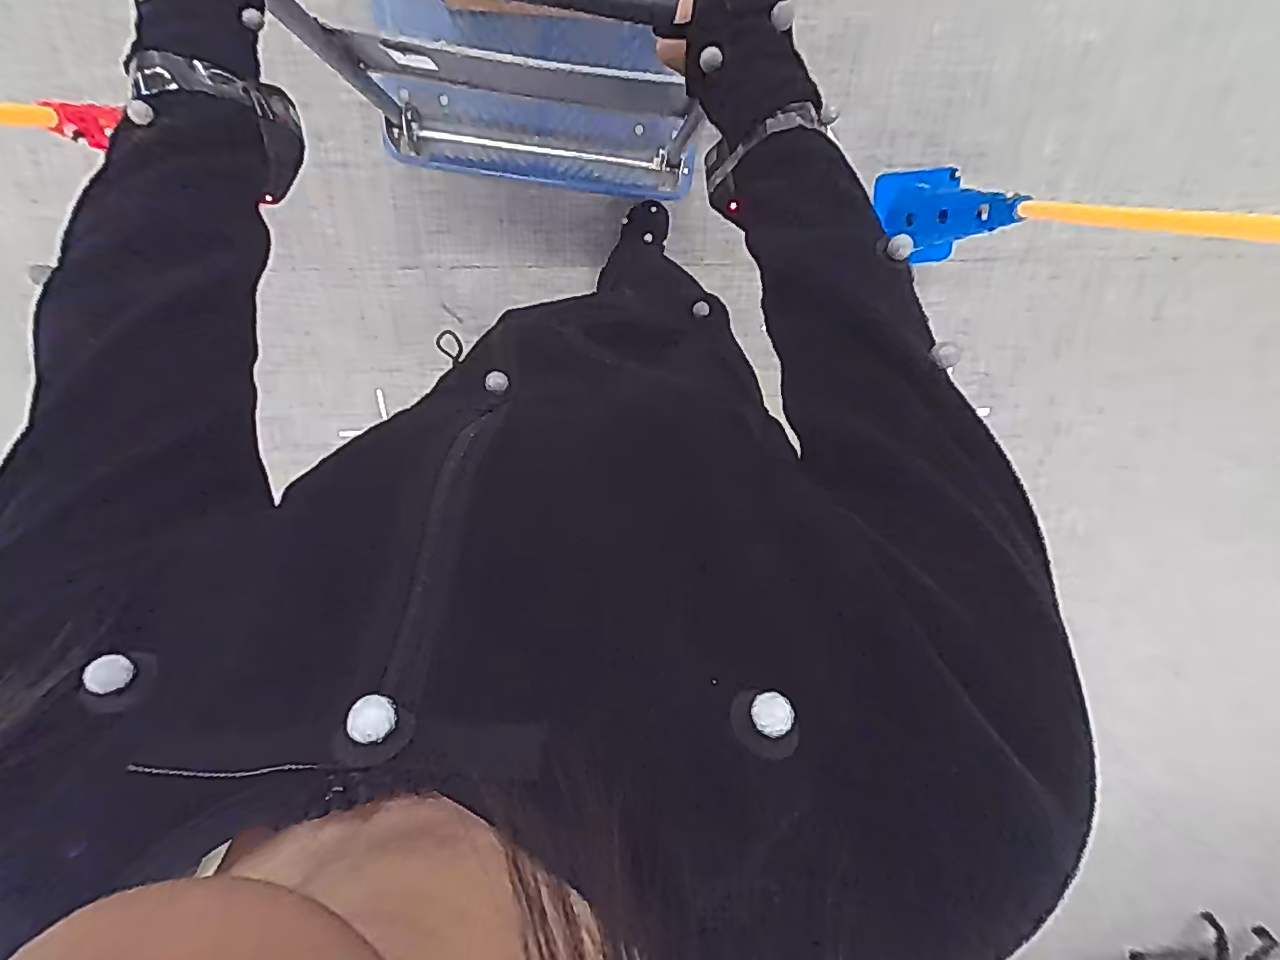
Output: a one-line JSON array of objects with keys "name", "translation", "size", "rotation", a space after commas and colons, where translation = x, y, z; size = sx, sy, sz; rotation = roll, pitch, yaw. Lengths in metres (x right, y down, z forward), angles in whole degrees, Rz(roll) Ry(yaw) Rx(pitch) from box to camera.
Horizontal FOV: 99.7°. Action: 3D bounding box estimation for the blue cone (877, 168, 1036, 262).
[{"name": "blue cone", "translation": [0.659, -0.555, 1.114], "size": [0.193, 0.380, 0.192], "rotation": [-5, 112, -2]}]
